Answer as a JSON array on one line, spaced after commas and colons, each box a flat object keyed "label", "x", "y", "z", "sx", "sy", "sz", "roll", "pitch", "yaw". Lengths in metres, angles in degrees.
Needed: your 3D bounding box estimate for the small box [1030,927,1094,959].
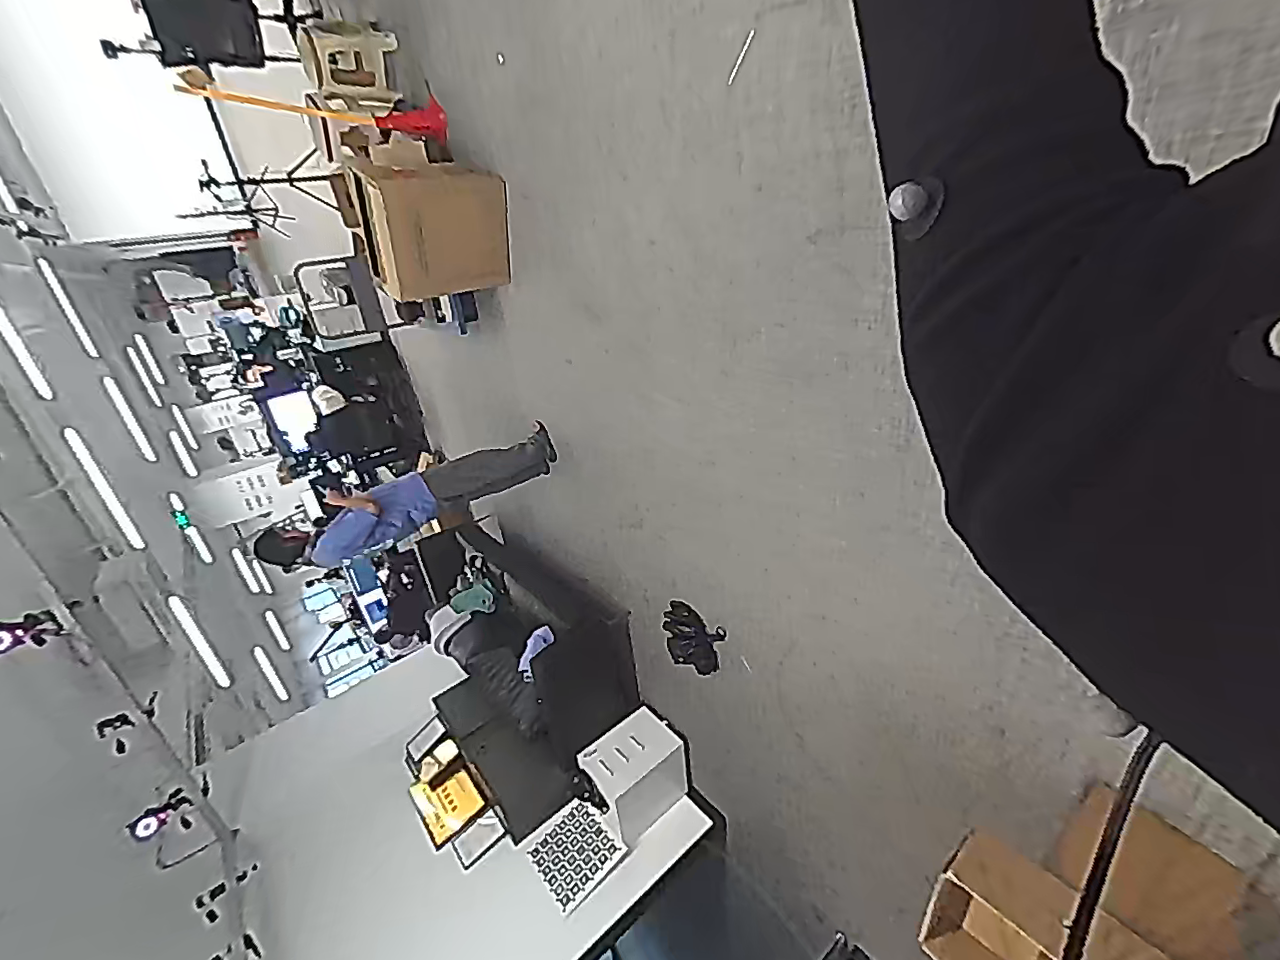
[{"label": "small box", "x": 0.989, "y": 1.199, "z": 1.247, "sx": 0.168, "sy": 0.176, "sz": 0.179, "roll": 24, "pitch": 132, "yaw": 47}]
